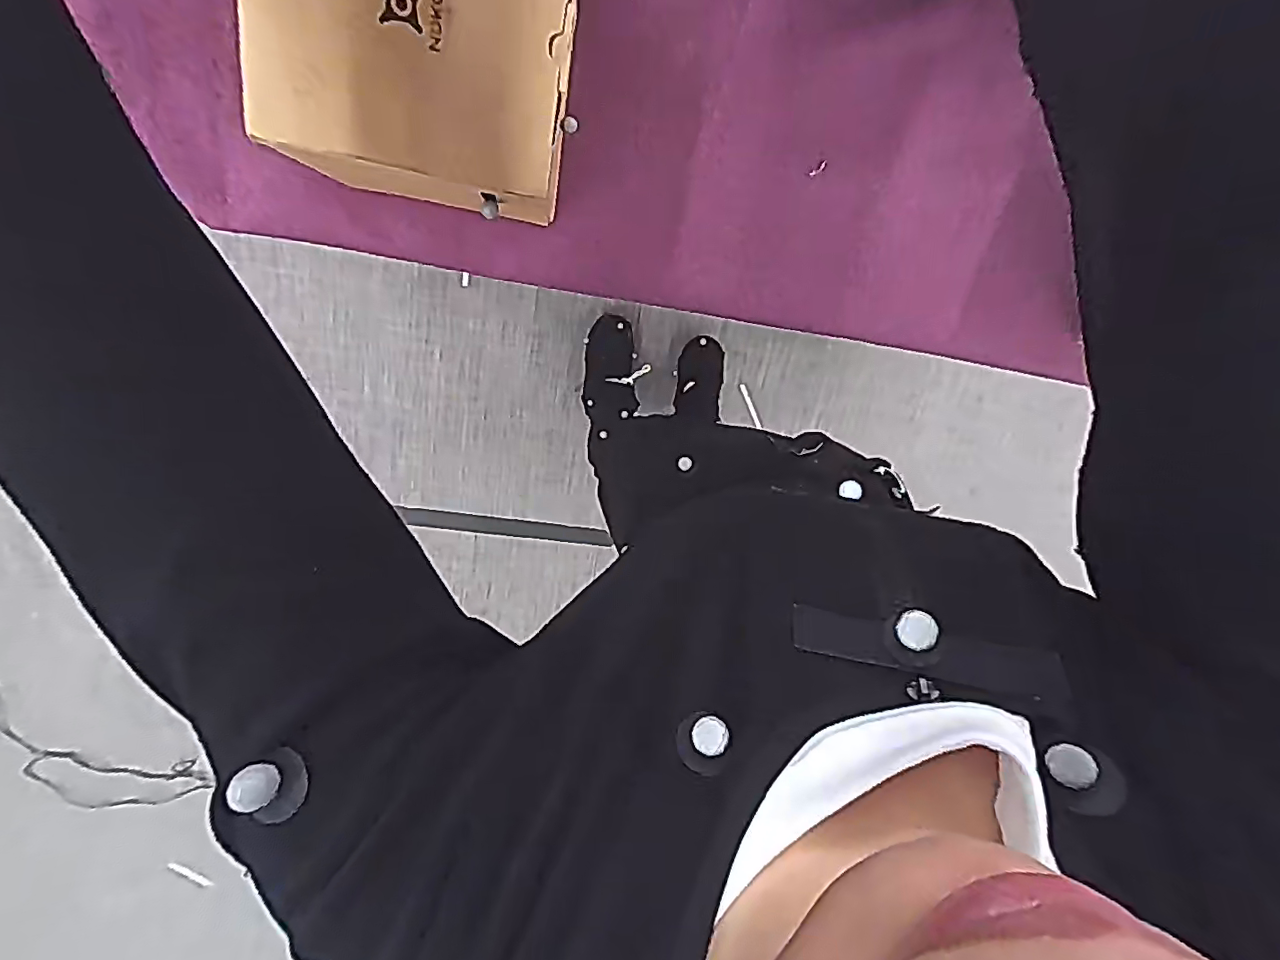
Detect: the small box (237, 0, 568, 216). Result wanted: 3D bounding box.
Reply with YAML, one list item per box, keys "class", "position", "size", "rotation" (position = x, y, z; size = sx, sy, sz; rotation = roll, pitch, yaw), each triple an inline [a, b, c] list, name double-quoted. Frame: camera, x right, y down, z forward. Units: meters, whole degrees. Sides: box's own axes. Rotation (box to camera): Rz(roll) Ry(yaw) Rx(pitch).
- class: "small box"
  position: [-0.147, -0.296, 0.382]
  size: [0.179, 0.176, 0.168]
  rotation: [6, 109, -12]
